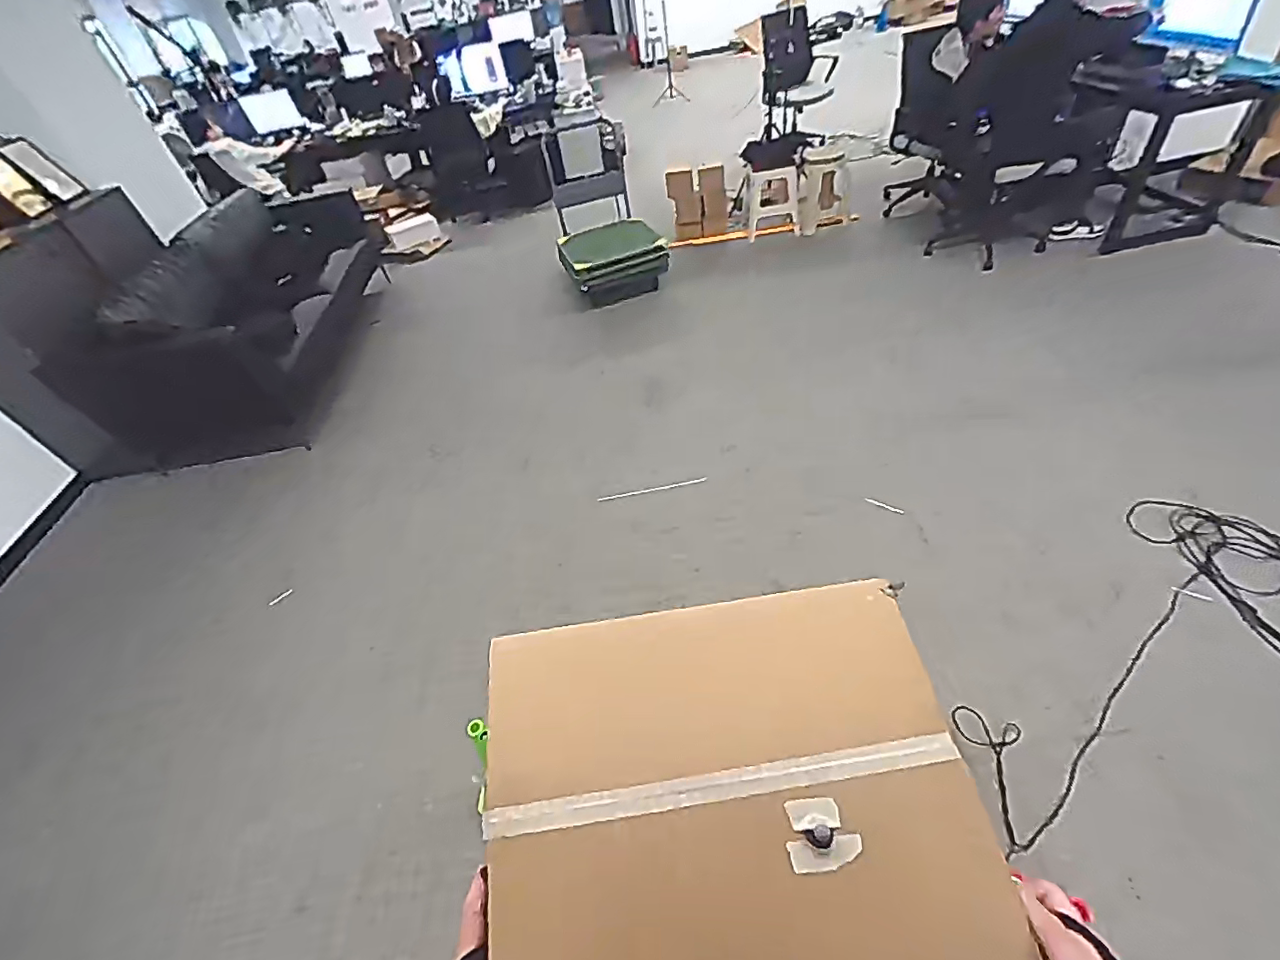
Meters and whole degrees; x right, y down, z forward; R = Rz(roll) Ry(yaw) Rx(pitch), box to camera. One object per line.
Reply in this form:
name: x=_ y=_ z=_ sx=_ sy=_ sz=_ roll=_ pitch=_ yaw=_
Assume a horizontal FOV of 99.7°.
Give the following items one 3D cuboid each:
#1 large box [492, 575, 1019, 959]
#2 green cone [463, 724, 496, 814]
large box: x=0.075 y=0.336 z=0.601 sx=0.408 sy=0.320 sz=0.320 roll=-9 pitch=59 yaw=-3
green cone: x=-0.388 y=0.730 z=1.439 sx=0.200 sy=0.368 sz=0.202 roll=-6 pitch=46 yaw=6
